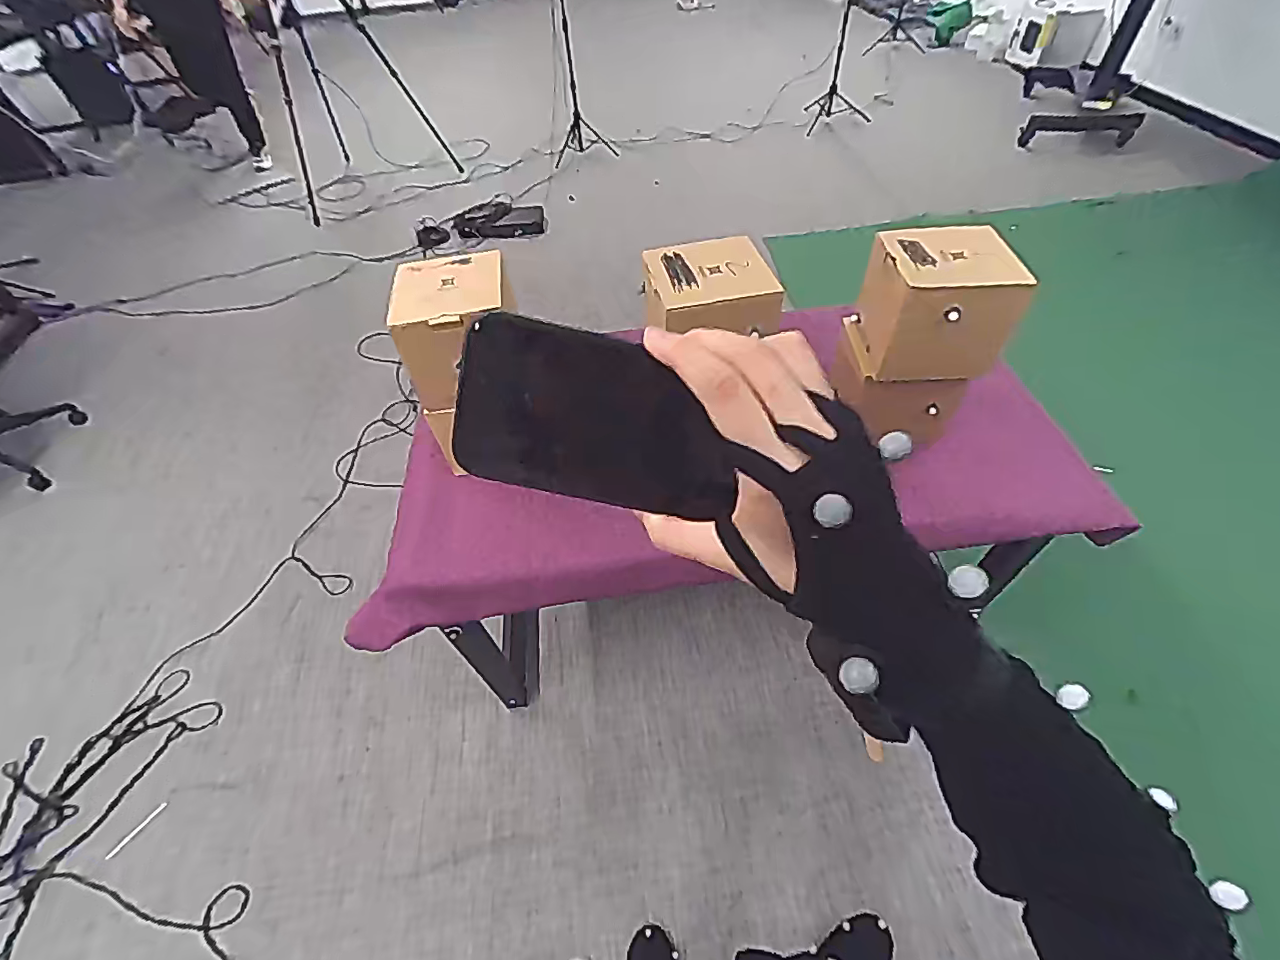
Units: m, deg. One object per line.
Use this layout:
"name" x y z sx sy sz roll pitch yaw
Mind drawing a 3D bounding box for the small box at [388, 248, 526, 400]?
"small box" -0.285 -0.246 0.880 0.168 0.176 0.179 -9 52 -4

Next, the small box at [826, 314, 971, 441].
"small box" 0.455 -0.183 0.984 0.179 0.176 0.168 -1 51 4

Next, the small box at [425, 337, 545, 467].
"small box" -0.274 -0.137 1.003 0.168 0.176 0.179 -5 51 0

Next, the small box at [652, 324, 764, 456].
"small box" 0.116 -0.161 0.991 0.179 0.176 0.168 -6 51 0

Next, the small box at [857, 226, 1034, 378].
"small box" 0.455 -0.274 0.847 0.179 0.176 0.168 -1 51 3
